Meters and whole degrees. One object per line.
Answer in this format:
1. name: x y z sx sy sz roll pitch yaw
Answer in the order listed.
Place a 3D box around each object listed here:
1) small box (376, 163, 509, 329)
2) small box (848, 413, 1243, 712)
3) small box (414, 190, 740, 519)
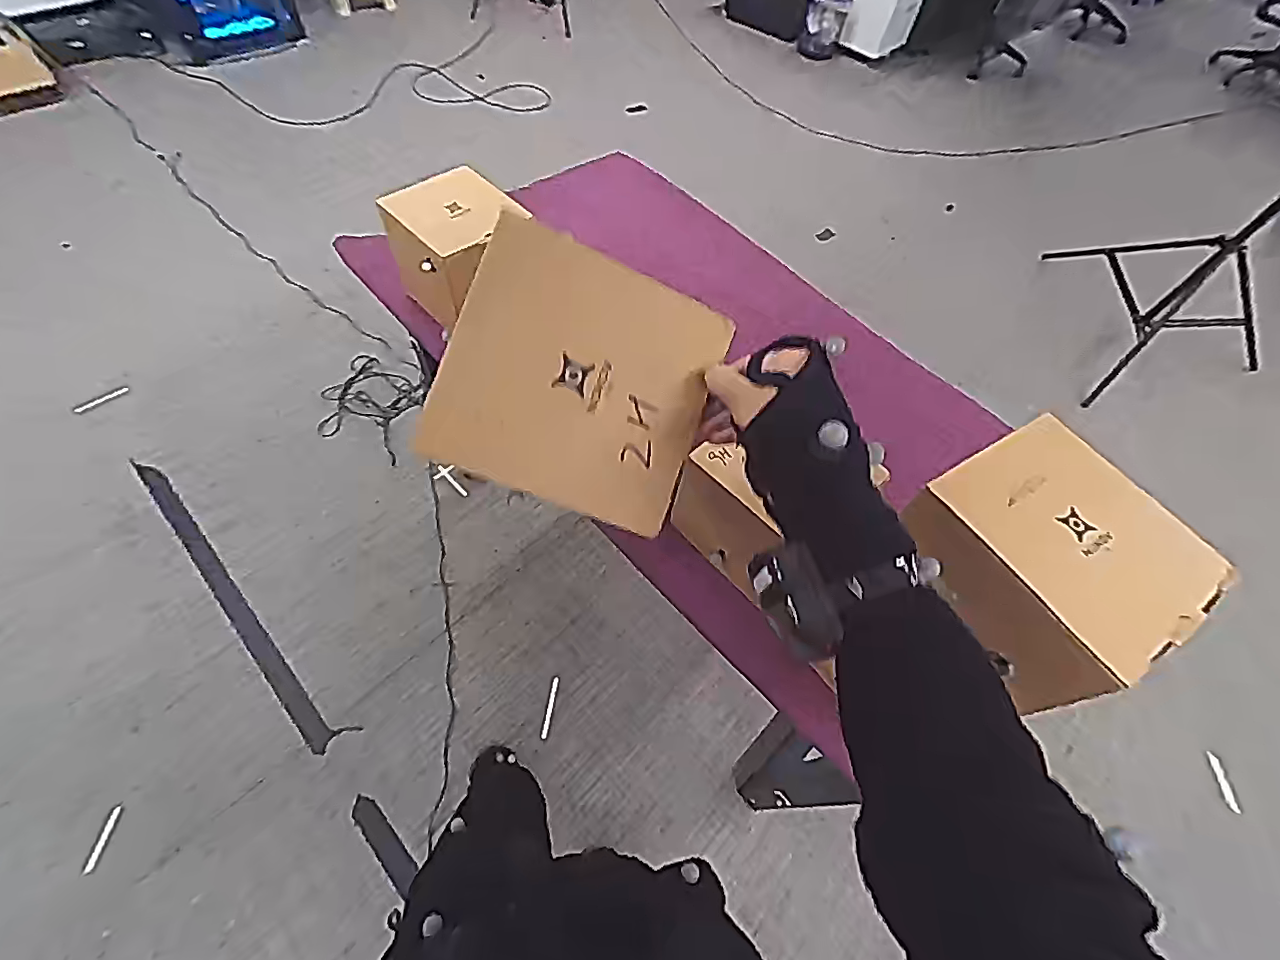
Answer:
1. small box: -0.282 -0.364 0.870 0.179 0.176 0.168 41 63 17
2. small box: 0.324 0.079 0.471 0.168 0.176 0.179 -25 63 -22
3. small box: -0.056 -0.081 0.433 0.179 0.176 0.168 22 88 -17
